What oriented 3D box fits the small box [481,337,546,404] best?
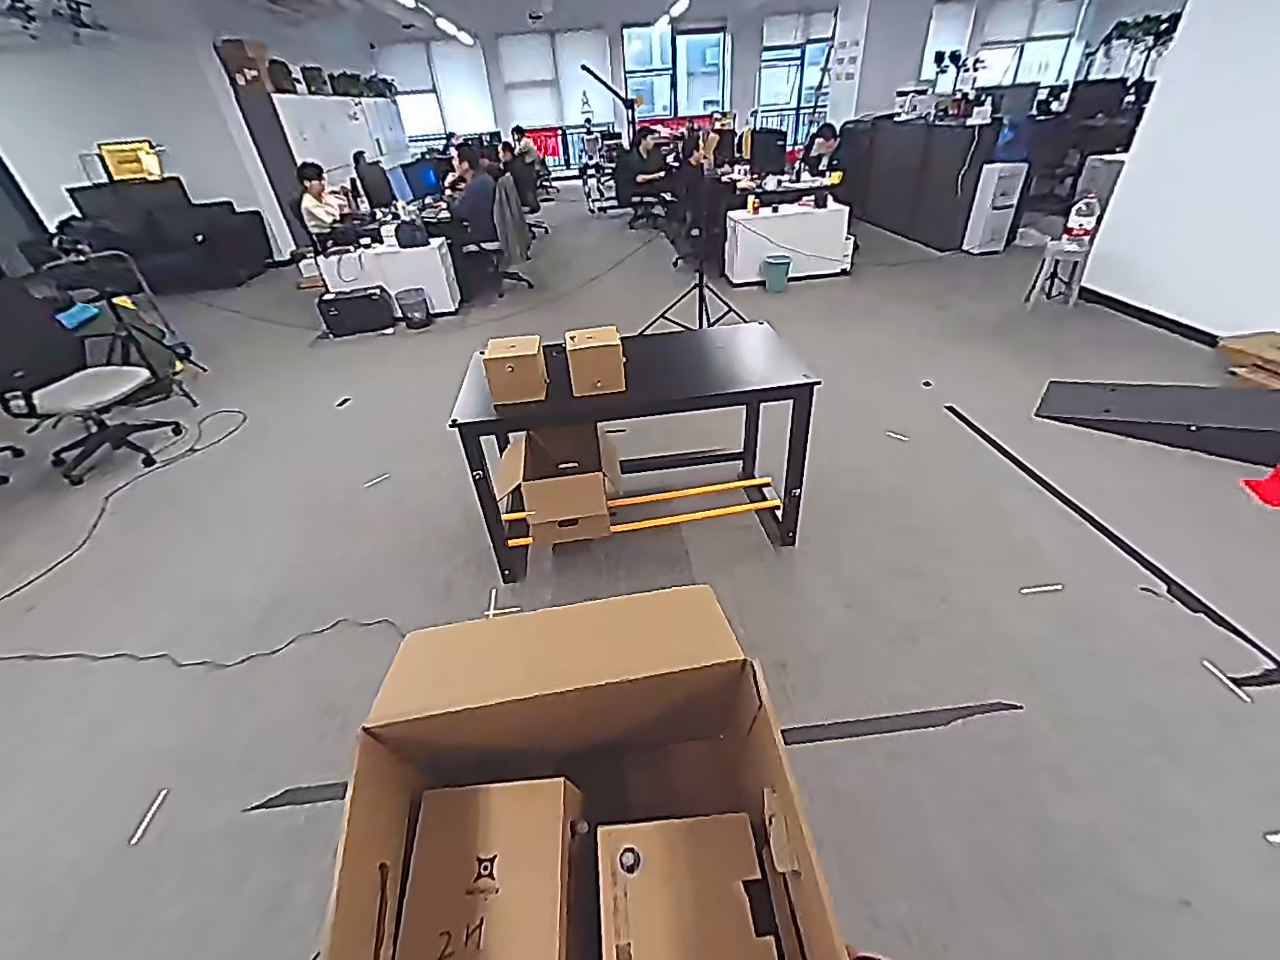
[{"bbox_3d":[-0.417,-0.364,1.806,0.179,0.176,0.168,-6,36,-3],"label":"small box"}]

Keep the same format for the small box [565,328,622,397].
[{"bbox_3d":[-0.155,-0.395,1.818,0.179,0.176,0.168,-7,35,-5],"label":"small box"}]
